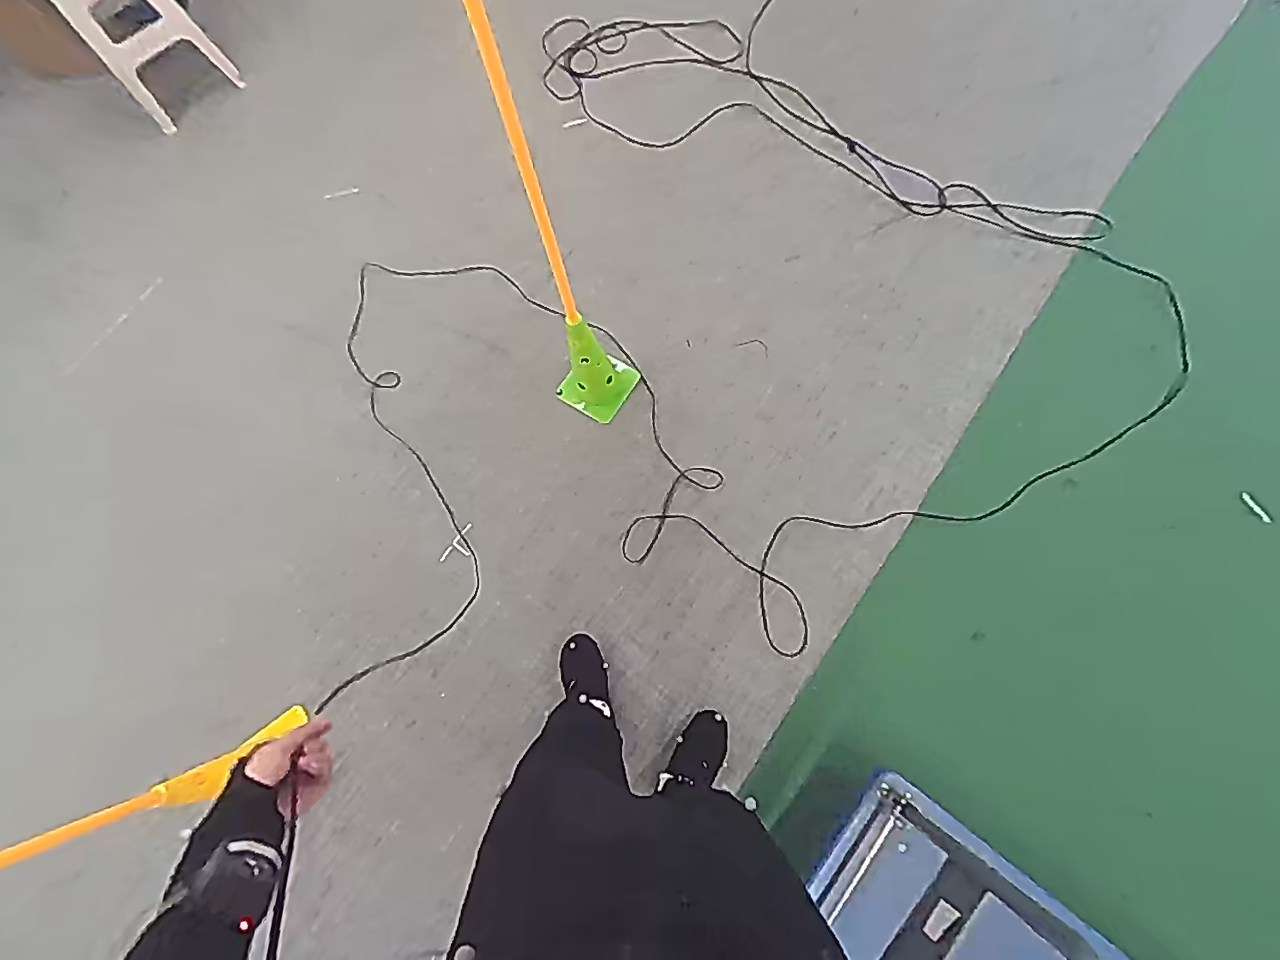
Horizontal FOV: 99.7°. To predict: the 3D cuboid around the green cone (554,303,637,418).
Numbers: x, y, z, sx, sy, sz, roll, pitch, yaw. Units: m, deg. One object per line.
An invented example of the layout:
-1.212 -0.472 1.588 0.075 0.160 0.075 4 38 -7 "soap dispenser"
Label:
-0.147 -0.353 1.470 0.200 0.368 0.202 31 77 13 "green cone"
